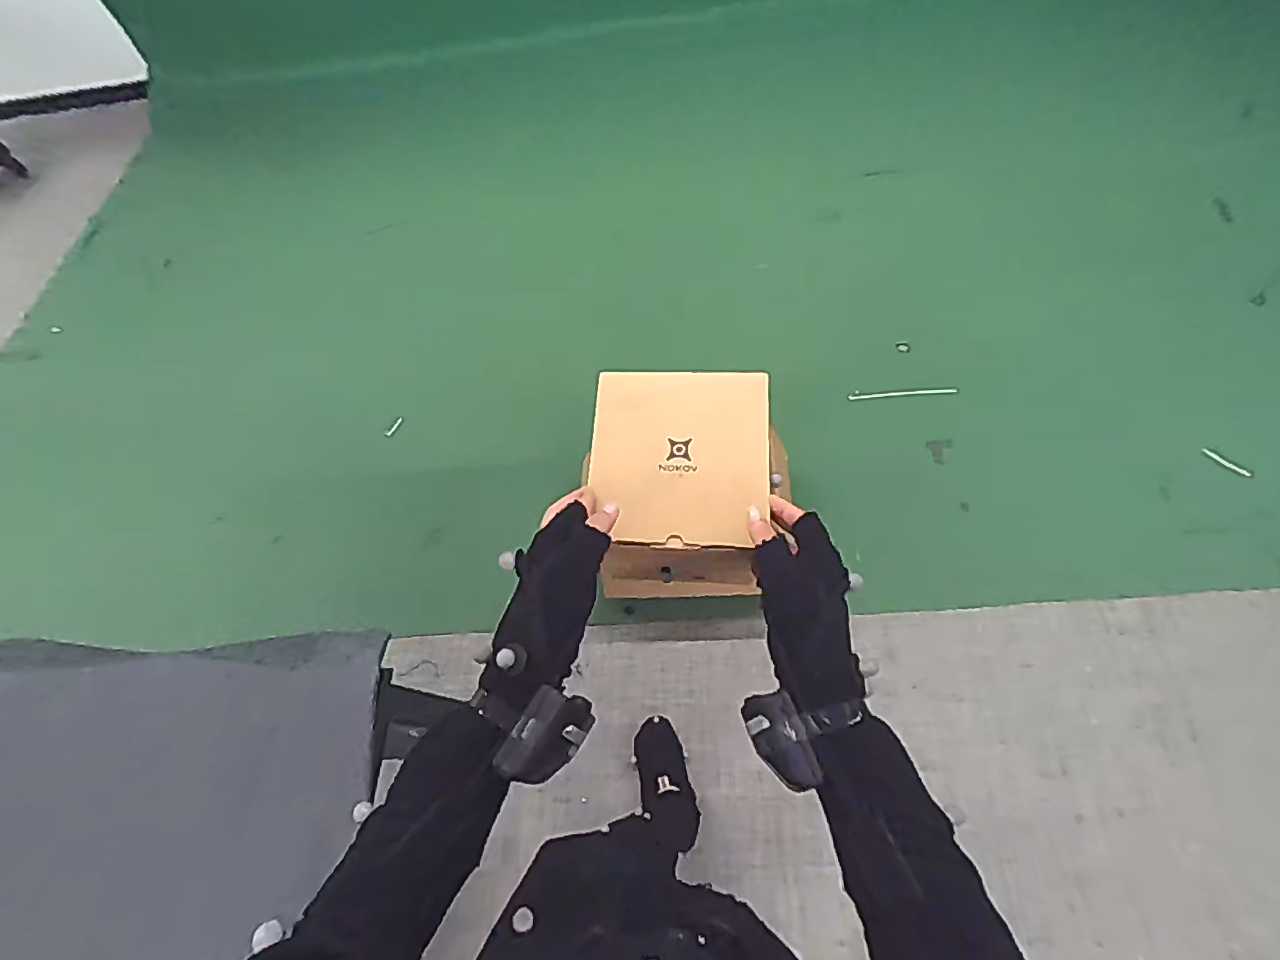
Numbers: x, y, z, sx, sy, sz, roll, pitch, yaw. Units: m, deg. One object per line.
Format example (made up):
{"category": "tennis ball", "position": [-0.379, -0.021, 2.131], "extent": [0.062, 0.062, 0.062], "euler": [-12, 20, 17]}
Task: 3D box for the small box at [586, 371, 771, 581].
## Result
{"category": "small box", "position": [0.044, 0.003, 0.576], "extent": [0.168, 0.176, 0.179], "euler": [1, 70, 6]}
